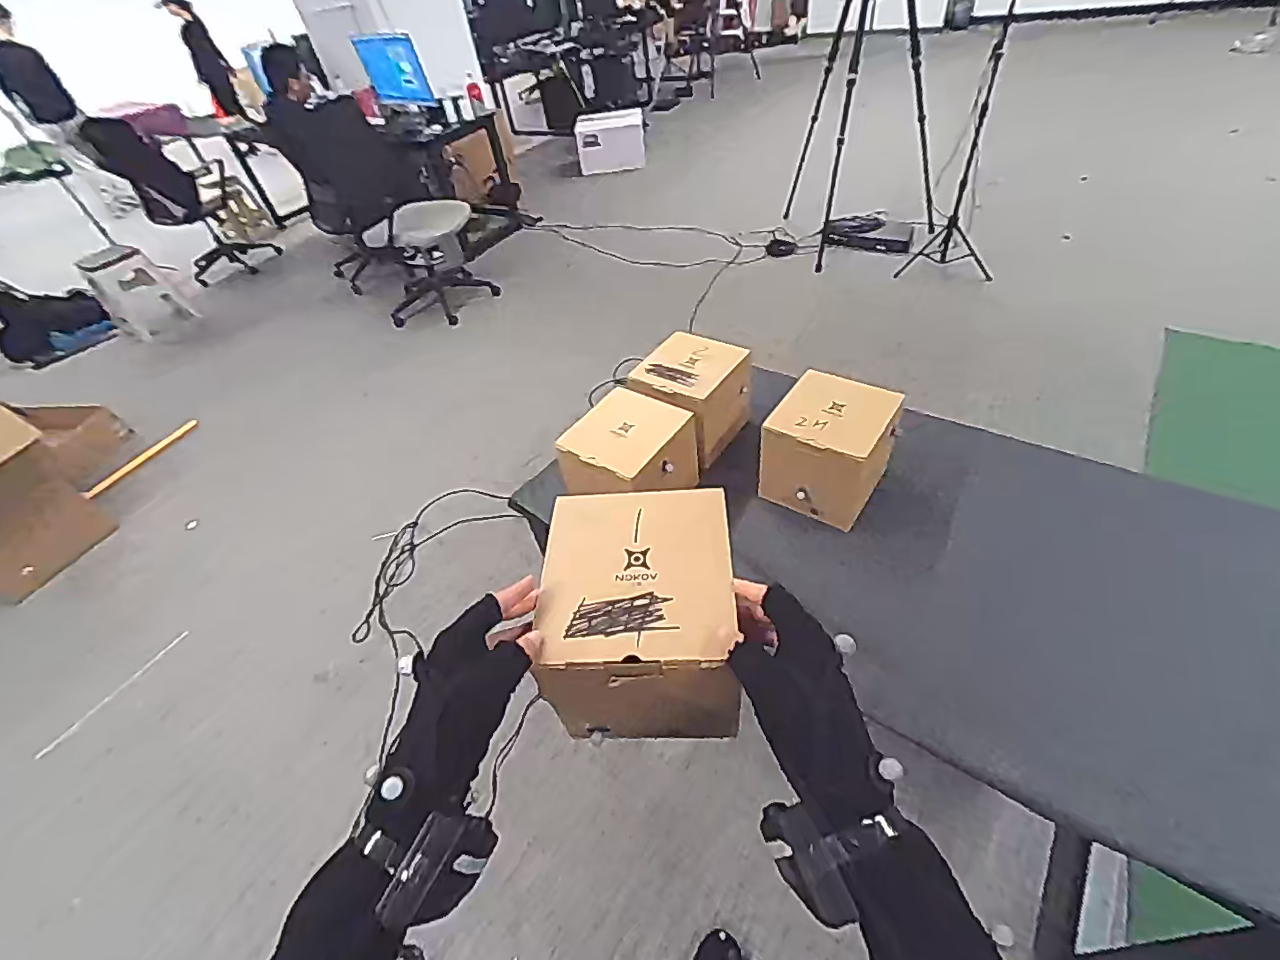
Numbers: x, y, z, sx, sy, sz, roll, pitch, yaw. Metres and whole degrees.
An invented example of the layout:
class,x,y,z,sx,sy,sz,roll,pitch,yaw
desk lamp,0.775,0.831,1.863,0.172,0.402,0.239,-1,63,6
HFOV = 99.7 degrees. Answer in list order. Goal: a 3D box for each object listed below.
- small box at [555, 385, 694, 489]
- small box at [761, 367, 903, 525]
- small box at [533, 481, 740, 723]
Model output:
class,x,y,z,sx,sy,sz,roll,pitch,yaw
small box,-0.019,-0.032,0.943,0.168,0.176,0.179,25,55,29
small box,0.314,-0.058,0.914,0.168,0.176,0.179,24,55,29
small box,0.009,0.123,0.526,0.168,0.176,0.179,-3,47,6
